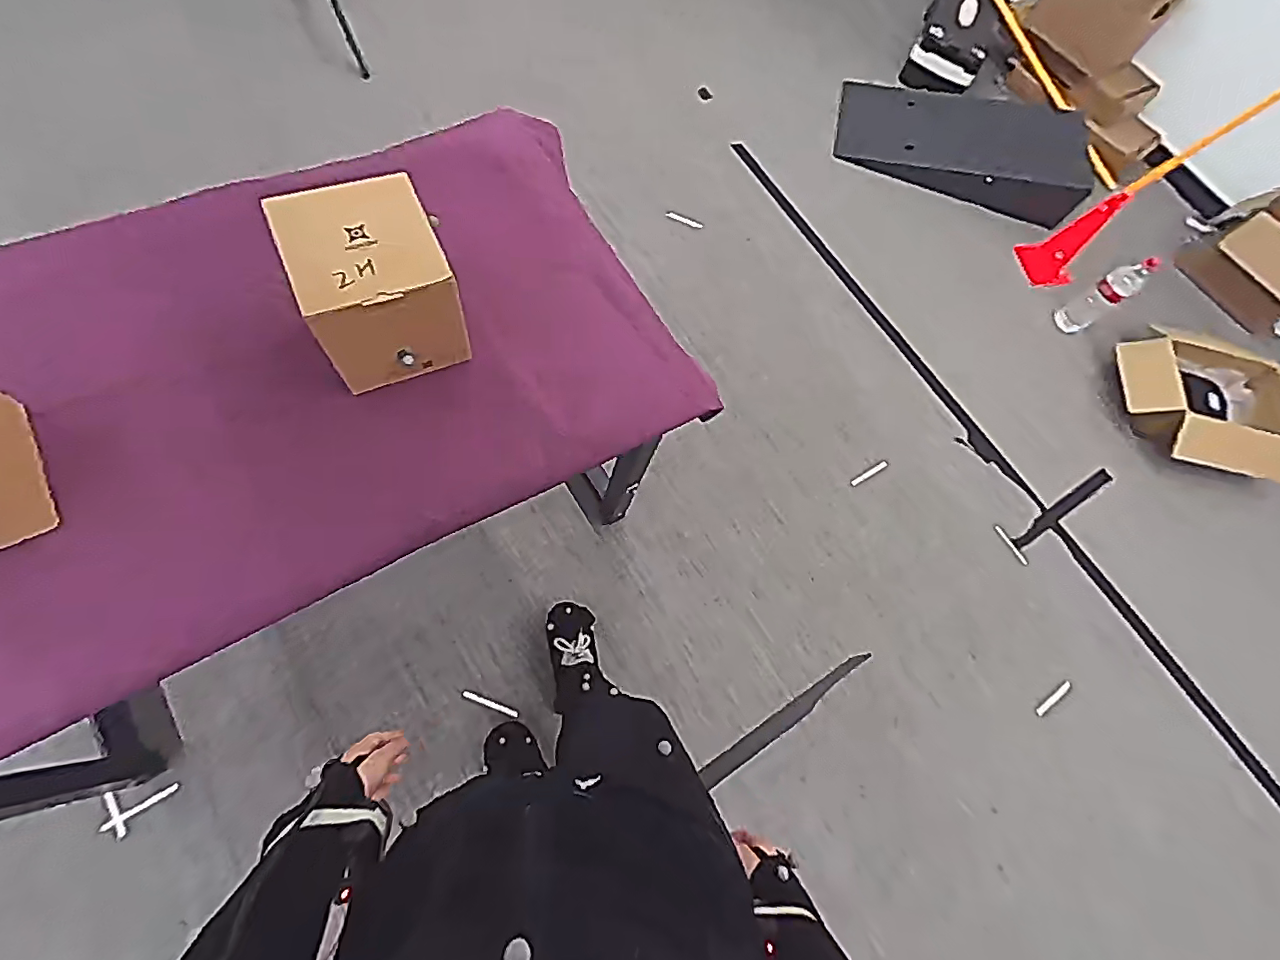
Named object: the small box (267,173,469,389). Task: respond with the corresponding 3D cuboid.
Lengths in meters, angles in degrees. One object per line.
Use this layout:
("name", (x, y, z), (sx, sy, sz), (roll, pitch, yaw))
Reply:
("small box", (-0.335, -0.248, 0.695), (0.168, 0.176, 0.179), (-22, 75, -17))

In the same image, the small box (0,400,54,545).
("small box", (-0.748, -0.013, 0.530), (0.168, 0.176, 0.179), (-27, 76, -19))
